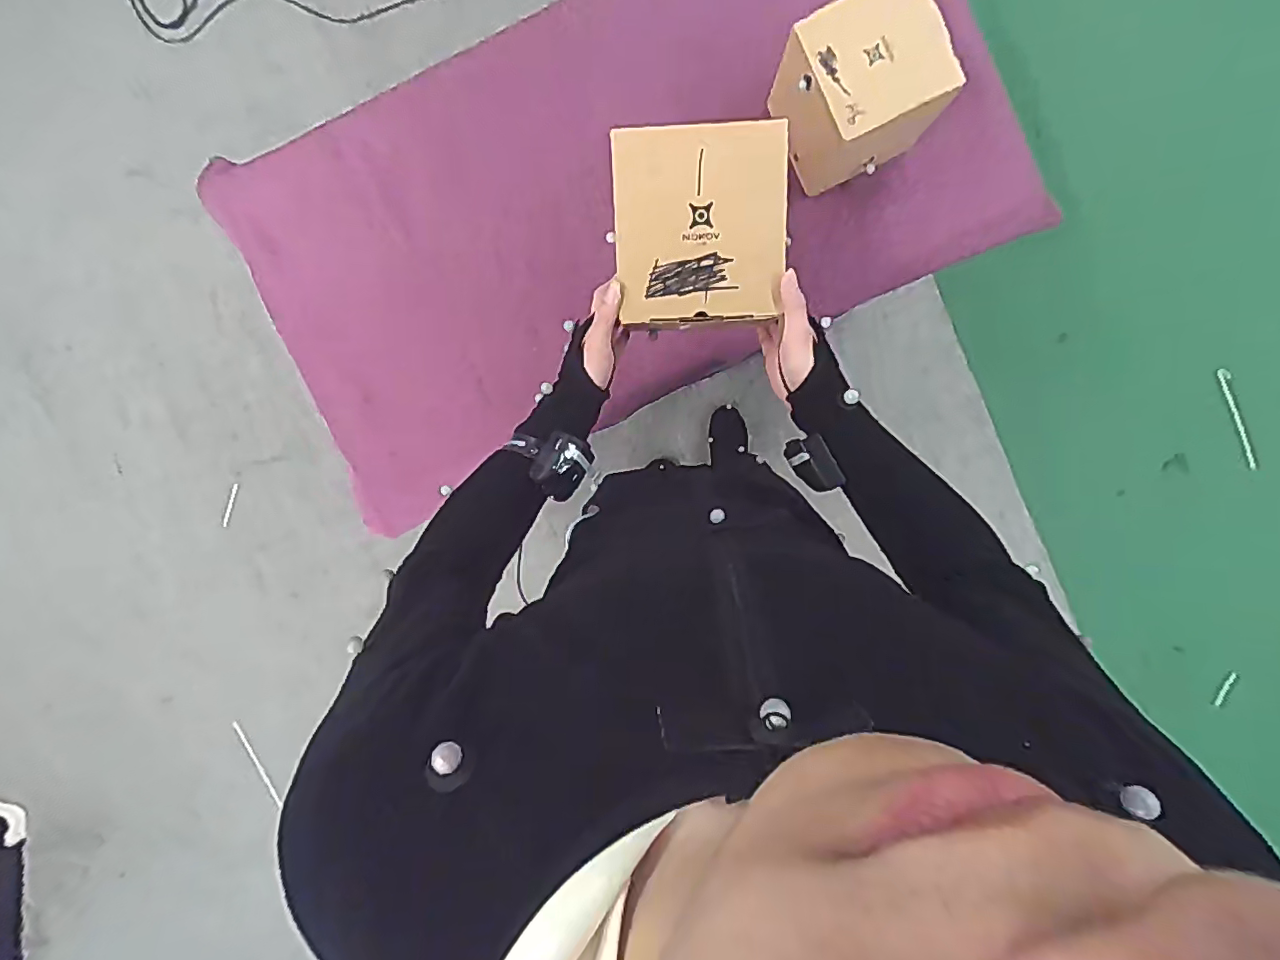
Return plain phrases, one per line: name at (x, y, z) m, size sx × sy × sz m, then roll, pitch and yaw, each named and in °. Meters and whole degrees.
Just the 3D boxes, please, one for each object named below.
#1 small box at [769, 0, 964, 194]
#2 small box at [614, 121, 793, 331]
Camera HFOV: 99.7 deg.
small box at (0.309, -0.553, 0.773) m, size 0.179 × 0.176 × 0.168 m, roll -25°, pitch 93°, yaw 2°
small box at (0.063, -0.256, 0.587) m, size 0.168 × 0.176 × 0.179 m, roll -2°, pitch 102°, yaw 2°
